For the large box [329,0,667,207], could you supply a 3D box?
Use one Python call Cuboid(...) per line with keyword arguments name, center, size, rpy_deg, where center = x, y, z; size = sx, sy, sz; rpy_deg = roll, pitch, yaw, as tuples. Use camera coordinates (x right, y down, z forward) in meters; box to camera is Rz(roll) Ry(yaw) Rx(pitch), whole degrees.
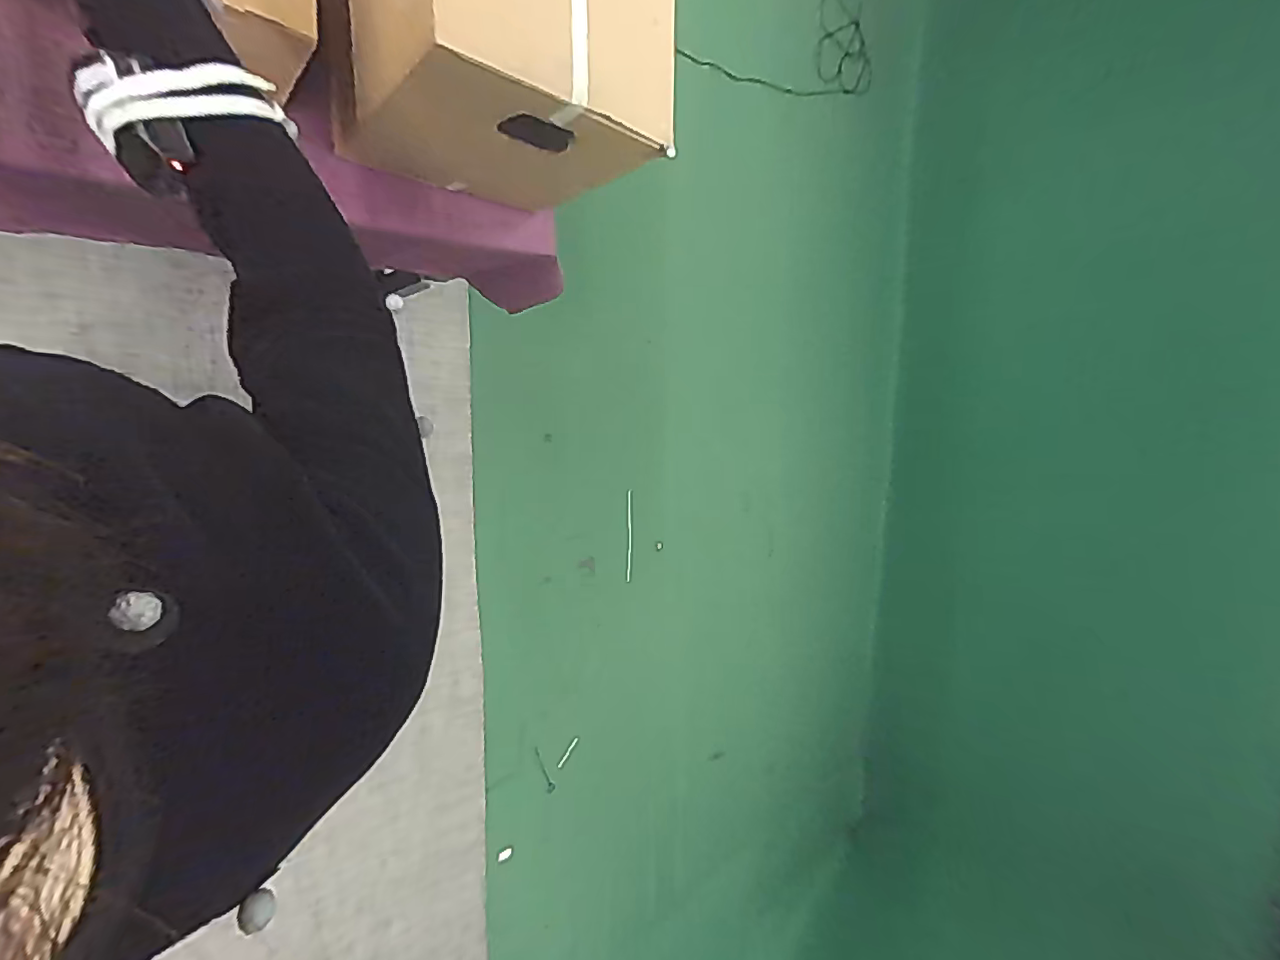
Cuboid(name="large box", center=(-0.179, -0.621, 0.675), size=(0.320, 0.320, 0.408), rpy_deg=(-8, 102, -43))
